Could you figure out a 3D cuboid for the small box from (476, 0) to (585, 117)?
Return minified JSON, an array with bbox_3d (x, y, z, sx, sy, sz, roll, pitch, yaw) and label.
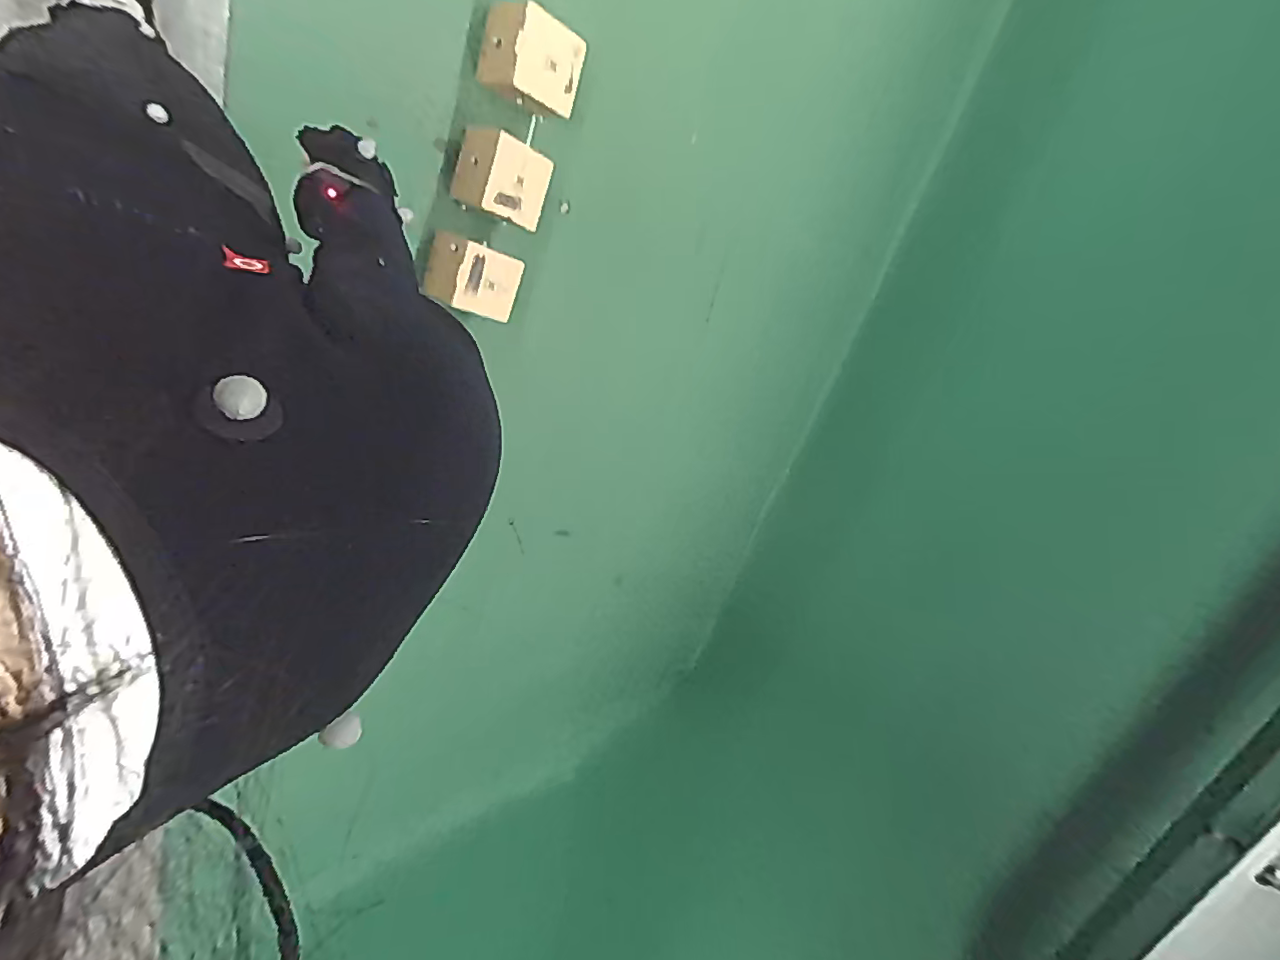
[{"bbox_3d":[-0.269,-1.006,1.303,0.179,0.176,0.168,-1,118,-48],"label":"small box"}]
